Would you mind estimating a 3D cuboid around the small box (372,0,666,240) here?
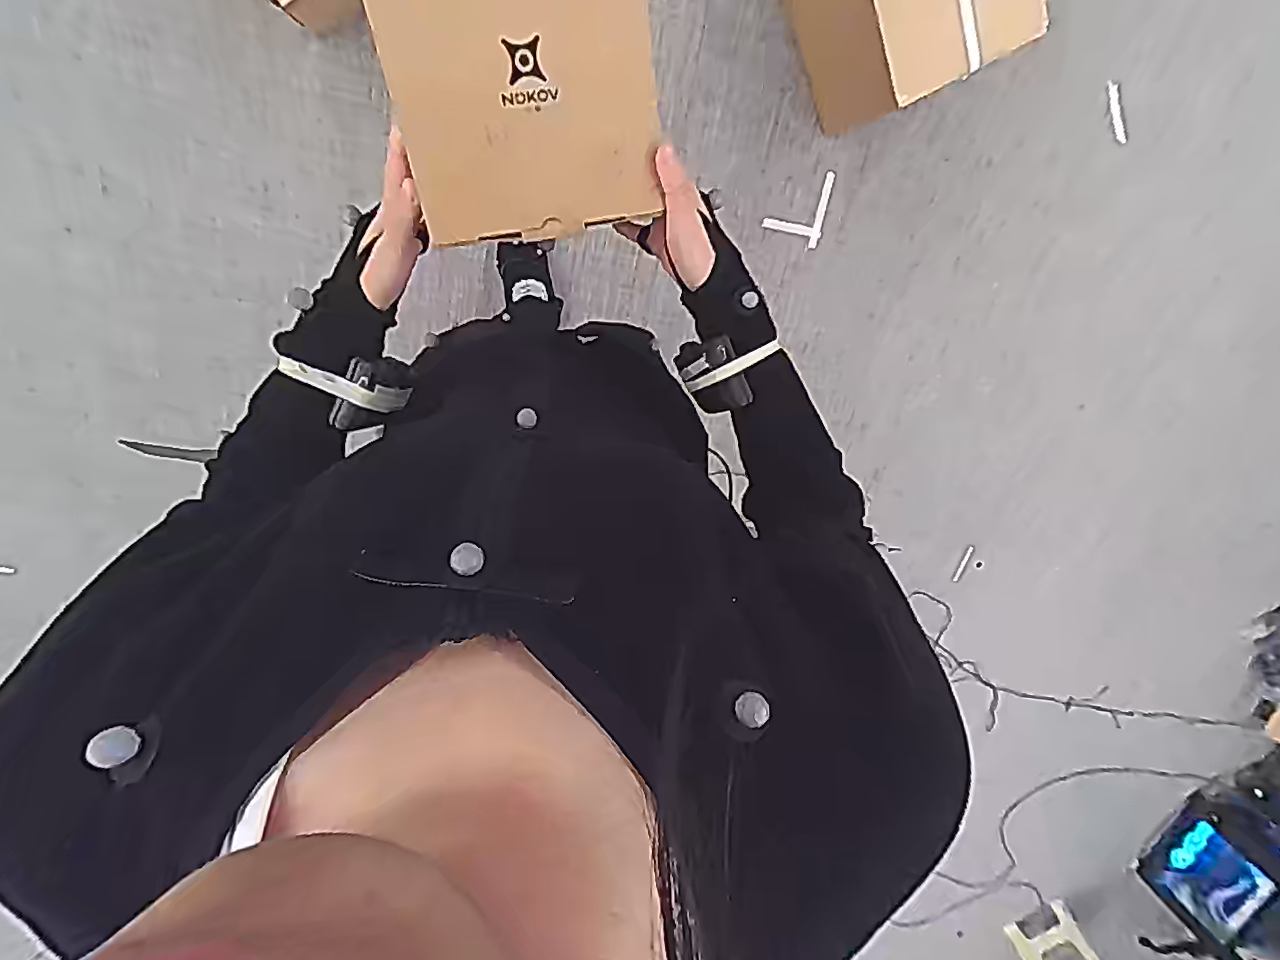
[{"bbox_3d":[-0.086,-0.288,0.400,0.168,0.176,0.179,-13,119,-10],"label":"small box"}]
